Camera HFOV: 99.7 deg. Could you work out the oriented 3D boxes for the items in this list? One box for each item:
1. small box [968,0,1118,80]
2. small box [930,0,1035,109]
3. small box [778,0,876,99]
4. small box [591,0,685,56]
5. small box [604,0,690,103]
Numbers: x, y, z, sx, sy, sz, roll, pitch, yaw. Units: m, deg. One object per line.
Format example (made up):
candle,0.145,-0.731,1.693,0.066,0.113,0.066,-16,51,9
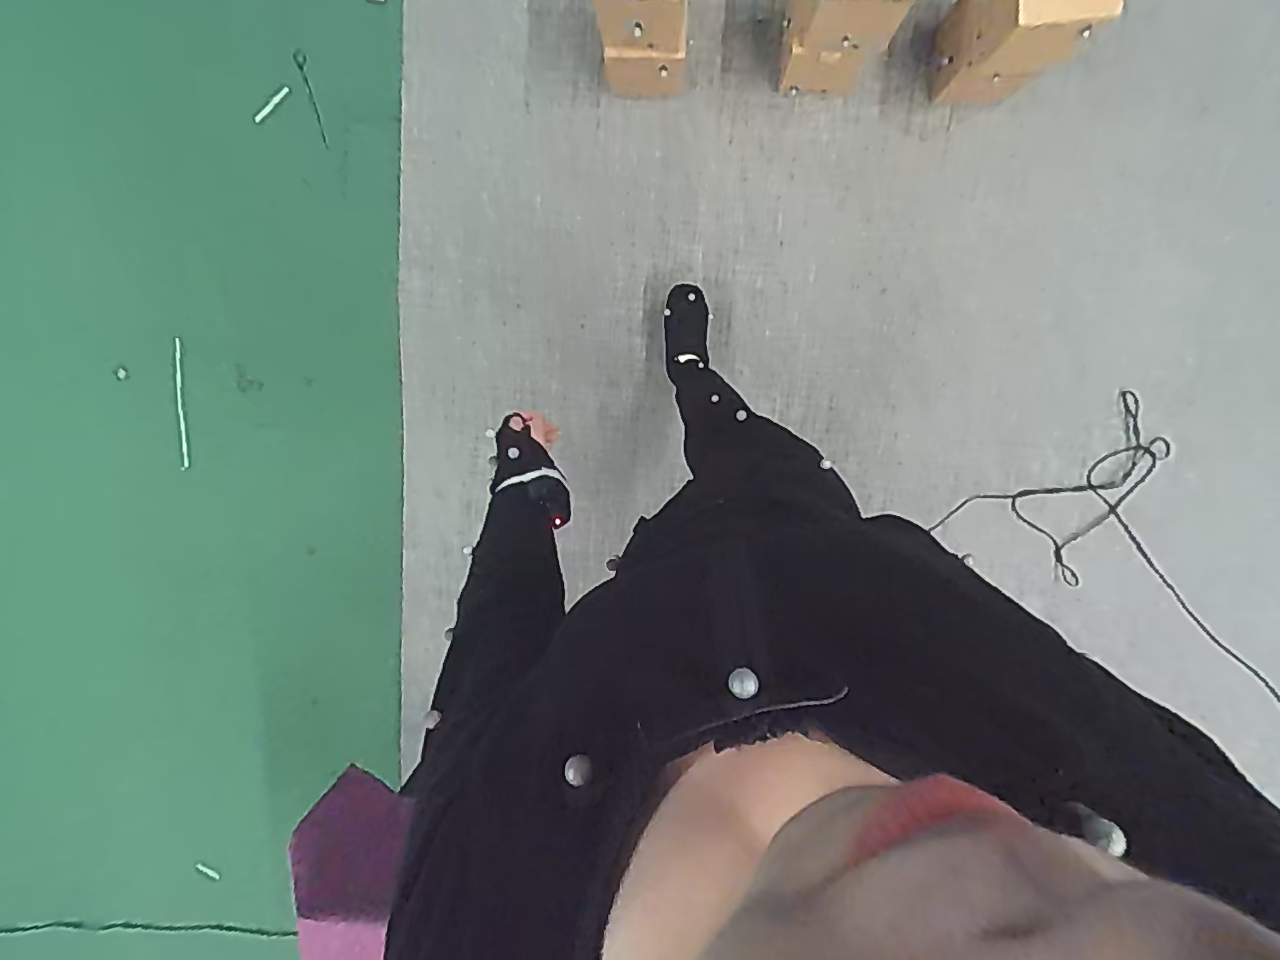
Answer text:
small box,0.747,-0.889,1.016,0.179,0.176,0.168,-3,100,5
small box,0.758,-0.933,1.173,0.179,0.176,0.168,2,101,4
small box,0.407,-0.976,1.193,0.168,0.176,0.179,5,100,3
small box,0.005,-0.975,1.059,0.168,0.176,0.179,8,101,3
small box,0.019,-0.986,1.223,0.179,0.176,0.168,4,100,4
